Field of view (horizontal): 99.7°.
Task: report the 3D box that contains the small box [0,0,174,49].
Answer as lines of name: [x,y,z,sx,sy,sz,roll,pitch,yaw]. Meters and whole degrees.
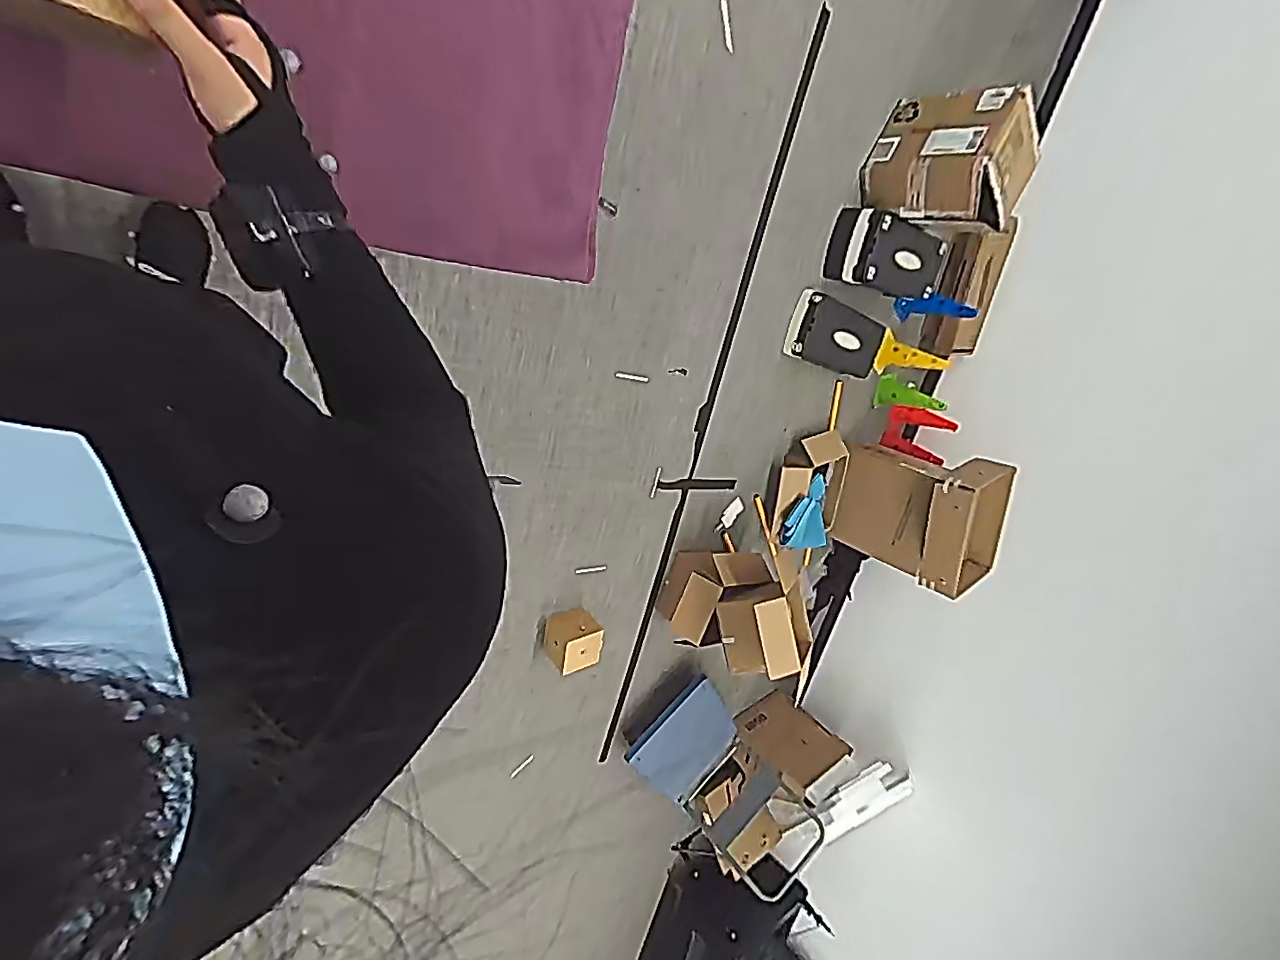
small box: [-0.394,-0.390,0.316,0.179,0.176,0.168,-3,116,-46]

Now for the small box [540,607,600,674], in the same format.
small box: [-0.286,0.641,2.176,0.179,0.176,0.168,-9,119,-39]
